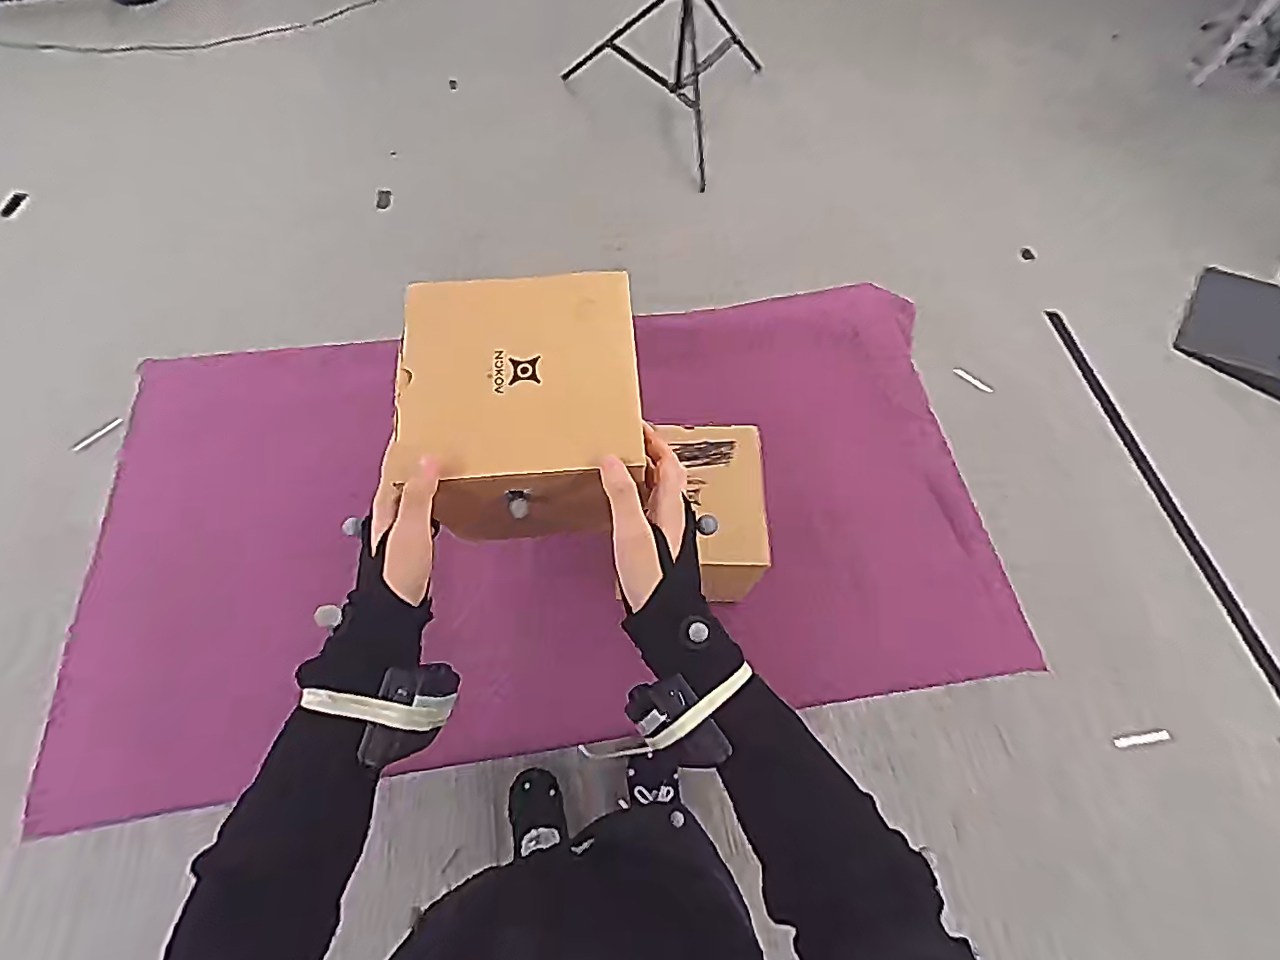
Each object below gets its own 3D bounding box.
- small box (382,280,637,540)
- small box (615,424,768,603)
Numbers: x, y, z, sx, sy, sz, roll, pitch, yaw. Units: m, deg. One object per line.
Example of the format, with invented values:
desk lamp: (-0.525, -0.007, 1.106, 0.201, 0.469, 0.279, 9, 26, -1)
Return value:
small box: (-0.097, -0.049, 0.472, 0.179, 0.176, 0.168, -5, 71, -2)
small box: (0.054, 0.048, 0.684, 0.168, 0.176, 0.179, 2, 65, -1)
